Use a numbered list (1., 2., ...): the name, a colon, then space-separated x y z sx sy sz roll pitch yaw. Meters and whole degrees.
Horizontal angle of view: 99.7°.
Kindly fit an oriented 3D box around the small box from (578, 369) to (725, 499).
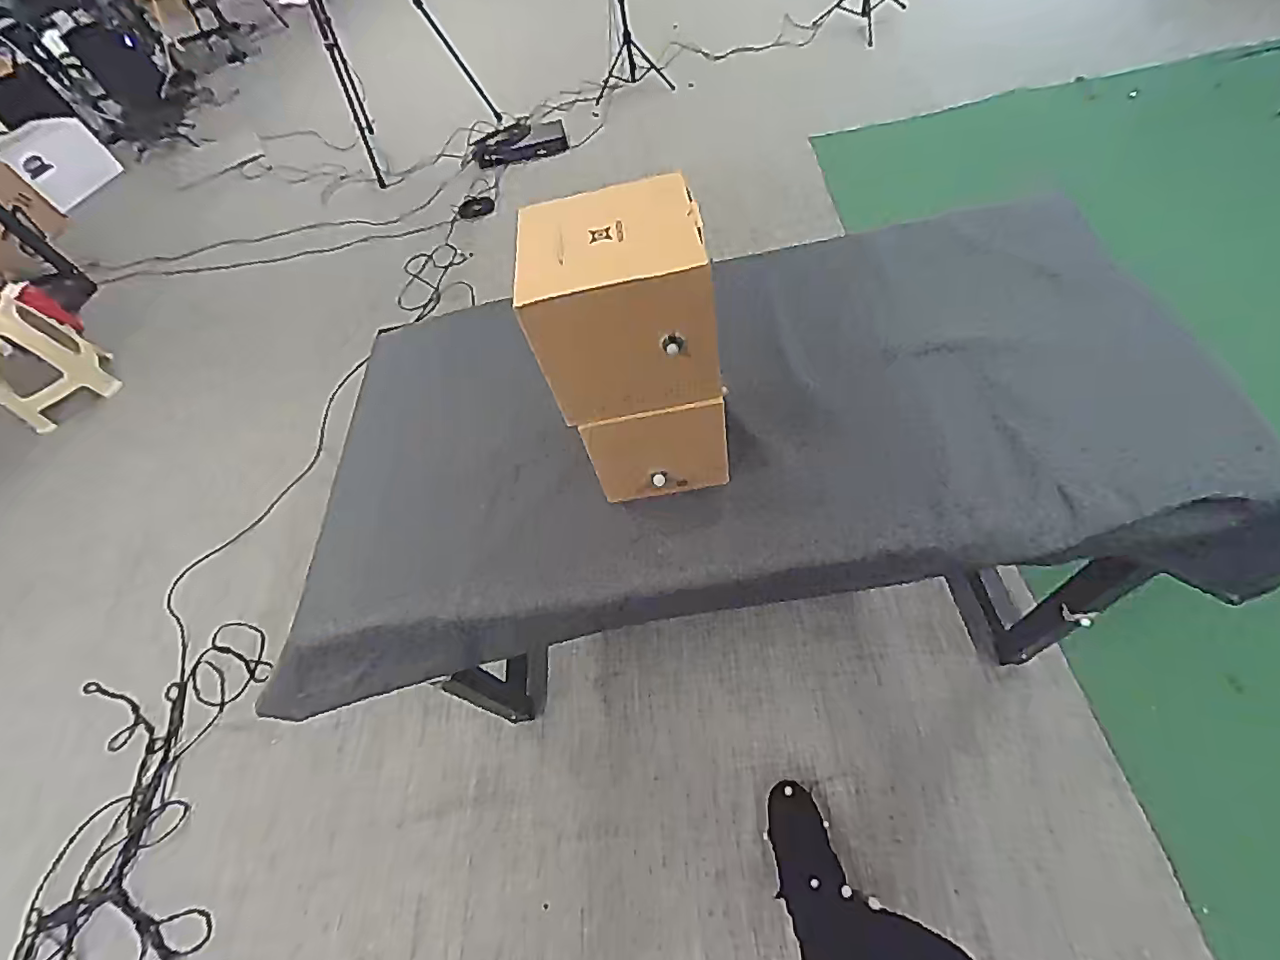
1. small box: 0.016 -0.099 0.711 0.168 0.176 0.179 -9 56 6

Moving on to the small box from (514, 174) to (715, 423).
1. small box: -0.019 -0.185 0.578 0.179 0.176 0.168 -11 54 6
